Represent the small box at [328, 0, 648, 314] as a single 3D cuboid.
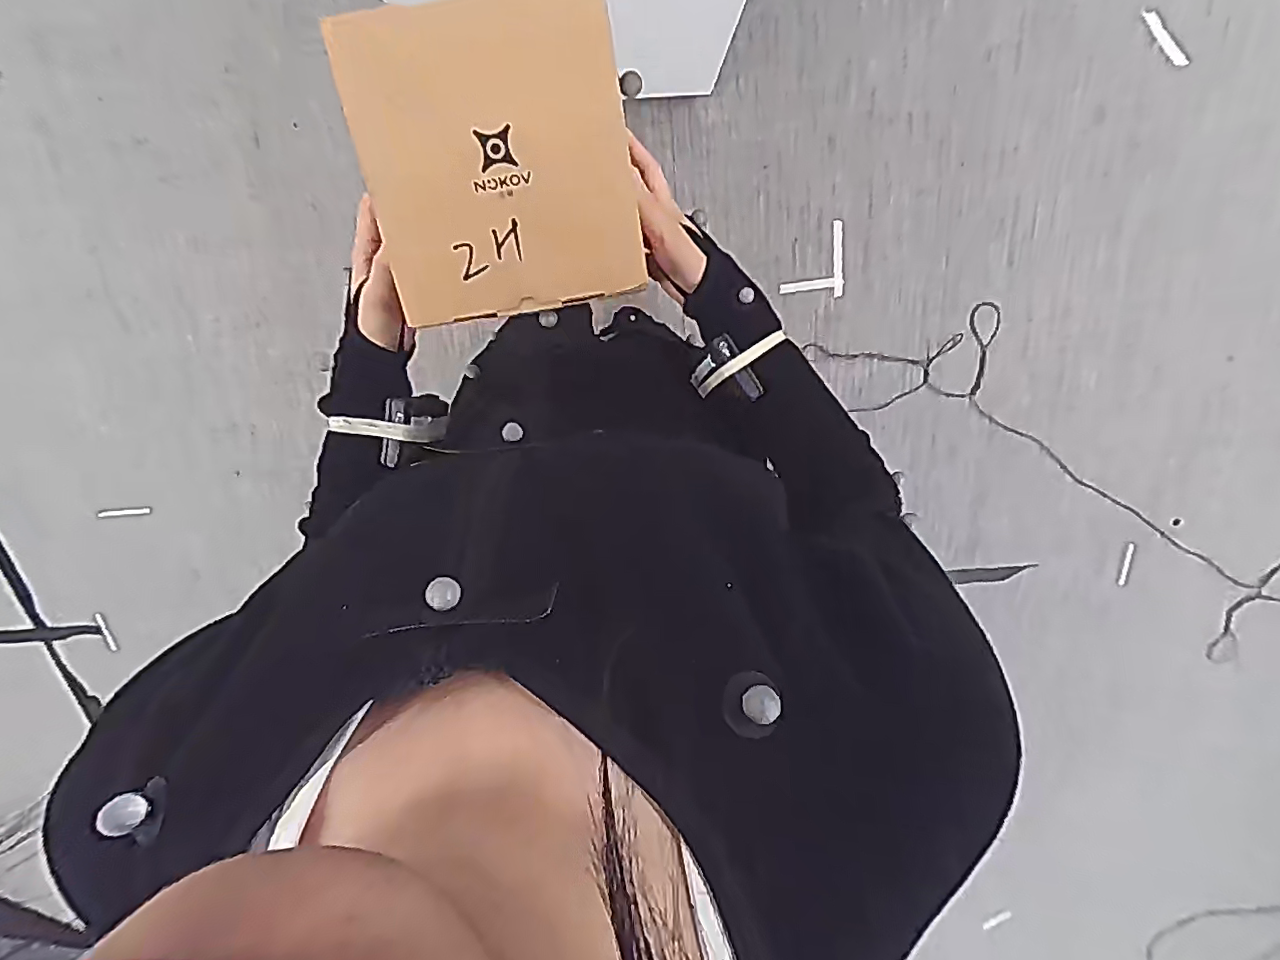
[{"bbox_3d":[-0.091,-0.228,0.410,0.168,0.176,0.179,-9,109,1],"label":"small box"}]
